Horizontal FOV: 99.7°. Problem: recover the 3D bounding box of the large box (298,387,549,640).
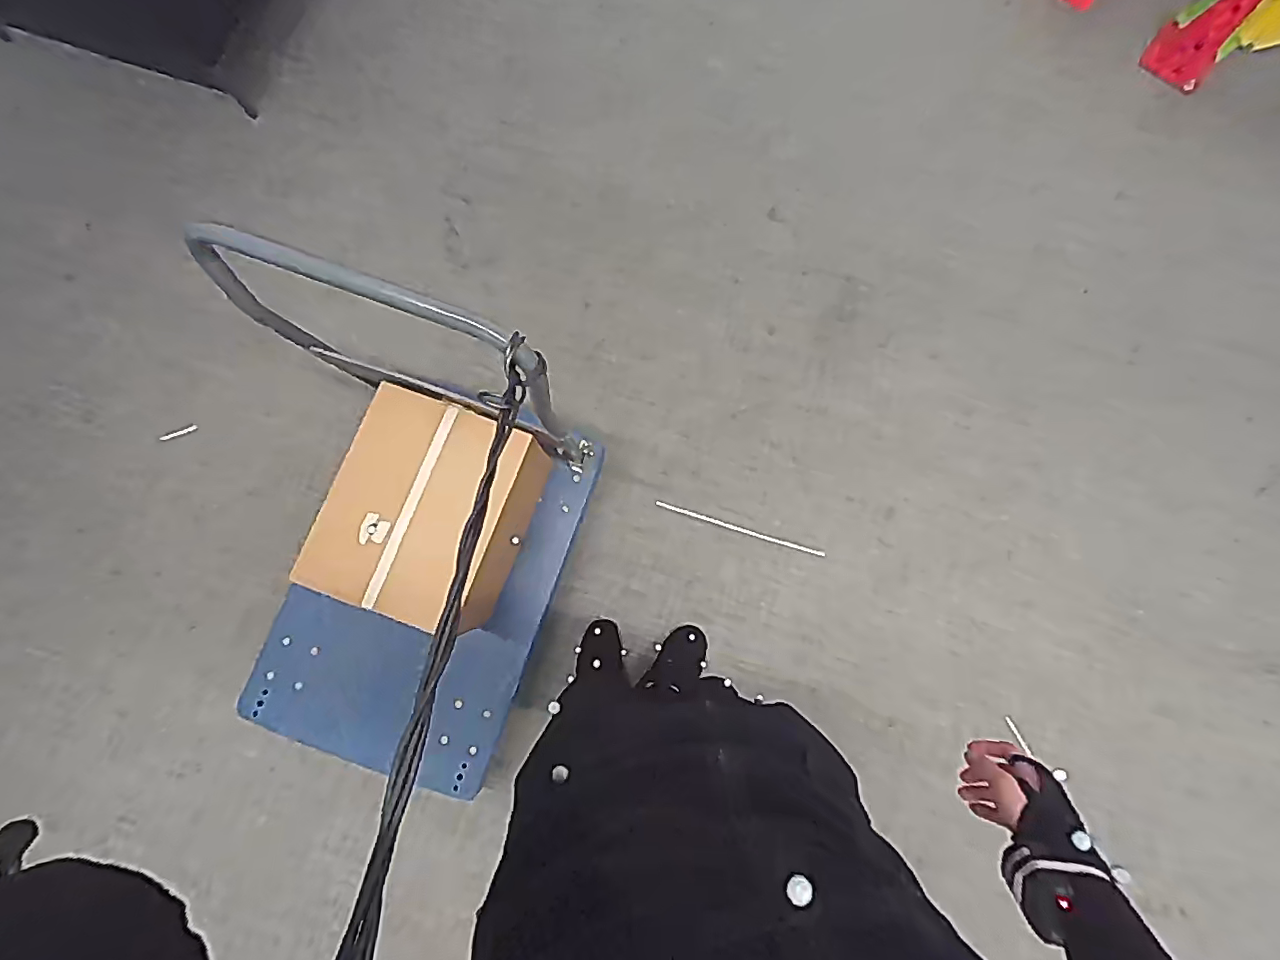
[{"bbox_3d":[-0.418,0.075,1.148,0.320,0.320,0.408,20,81,1],"label":"large box"}]
